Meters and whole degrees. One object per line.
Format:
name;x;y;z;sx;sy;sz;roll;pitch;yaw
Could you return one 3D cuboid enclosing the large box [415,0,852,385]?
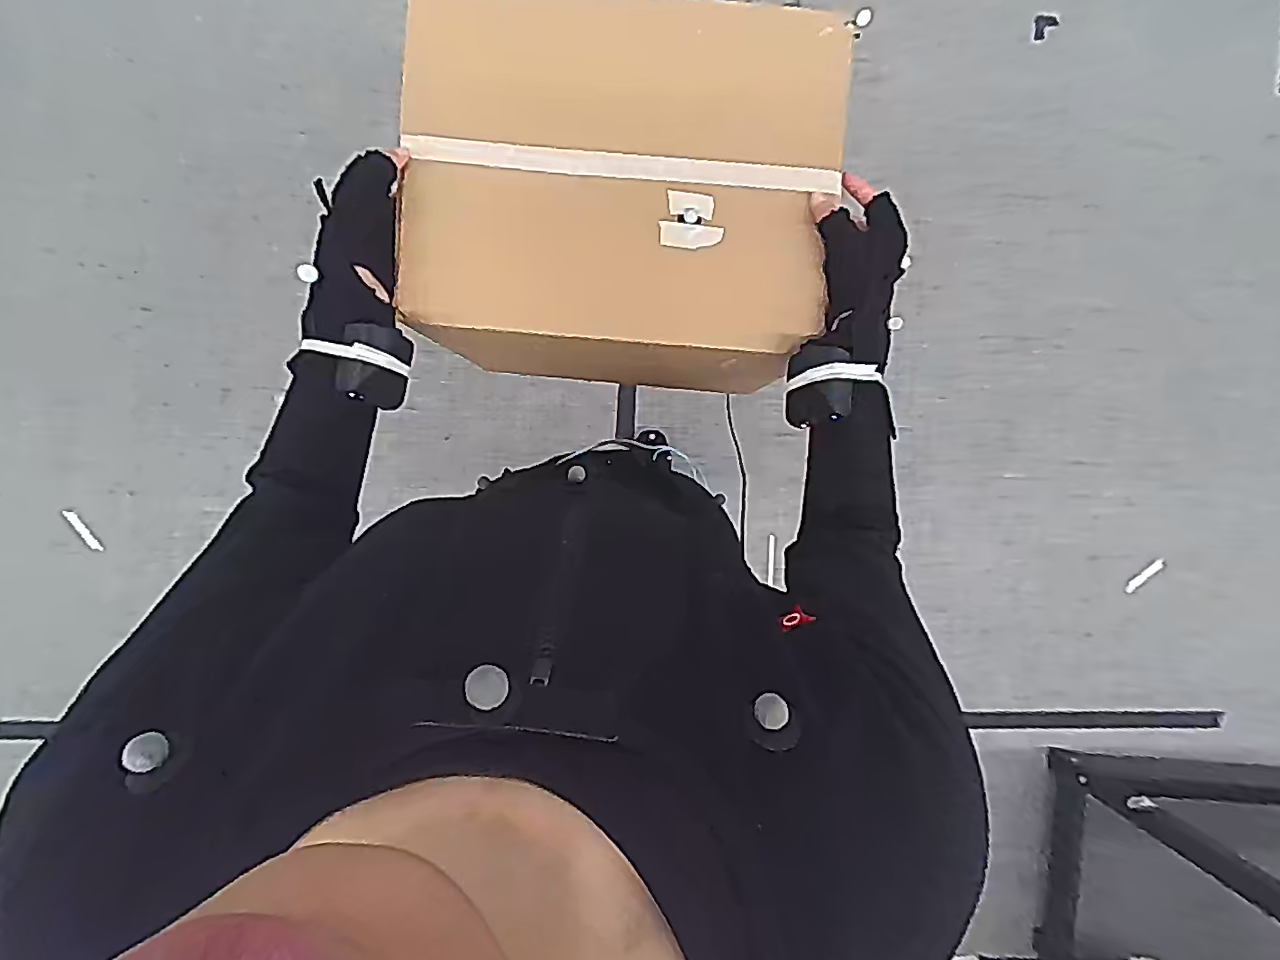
large box;-0.012;-0.301;0.661;0.408;0.320;0.320;5;94;-1
